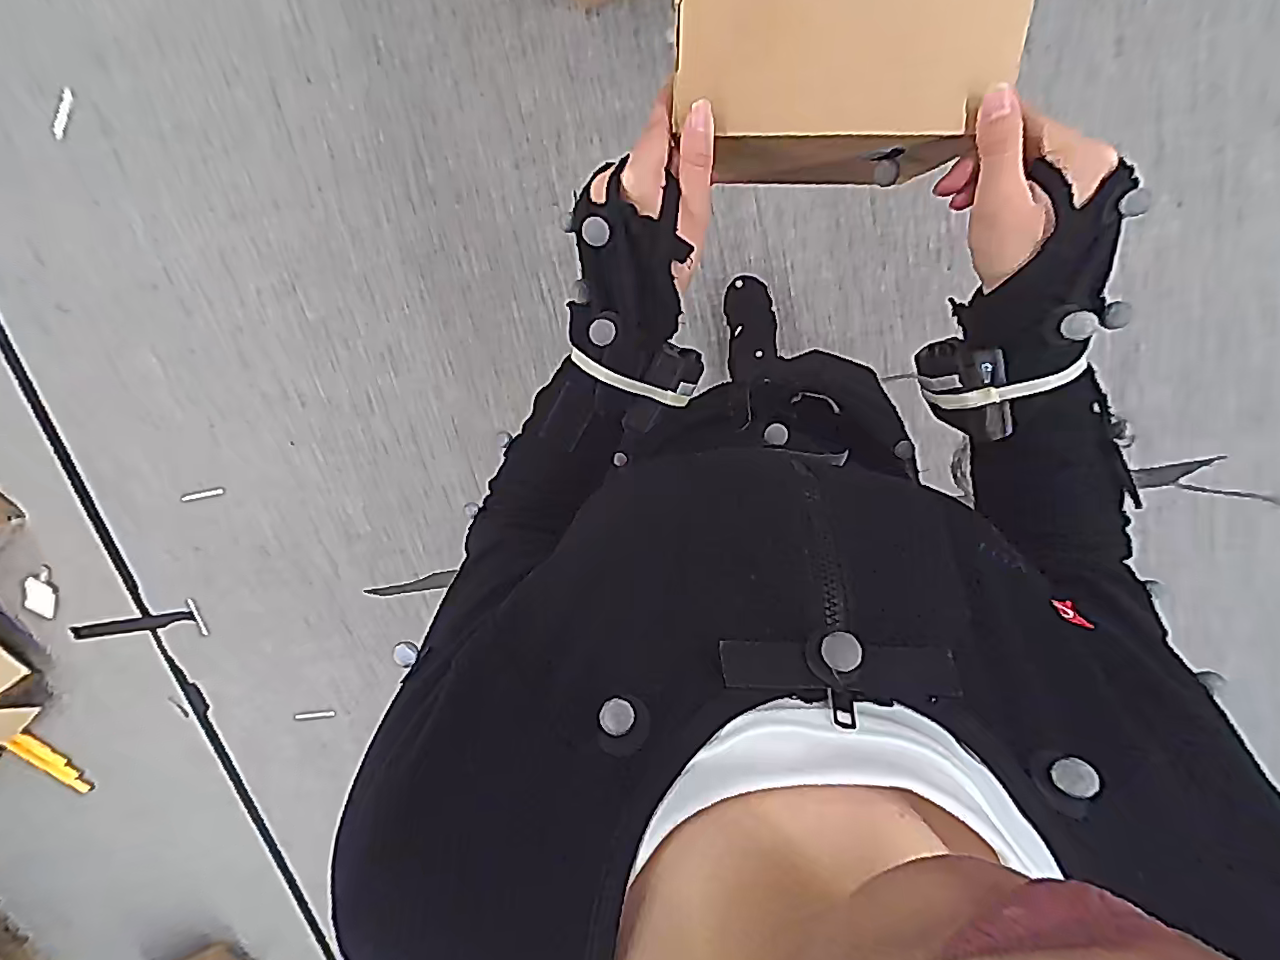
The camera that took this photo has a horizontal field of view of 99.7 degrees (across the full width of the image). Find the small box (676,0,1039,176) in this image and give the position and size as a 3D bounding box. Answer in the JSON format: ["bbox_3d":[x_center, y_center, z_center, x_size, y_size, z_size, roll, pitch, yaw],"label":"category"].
[{"bbox_3d":[0.117,-0.296,0.333,0.179,0.176,0.168,4,111,7],"label":"small box"}]
